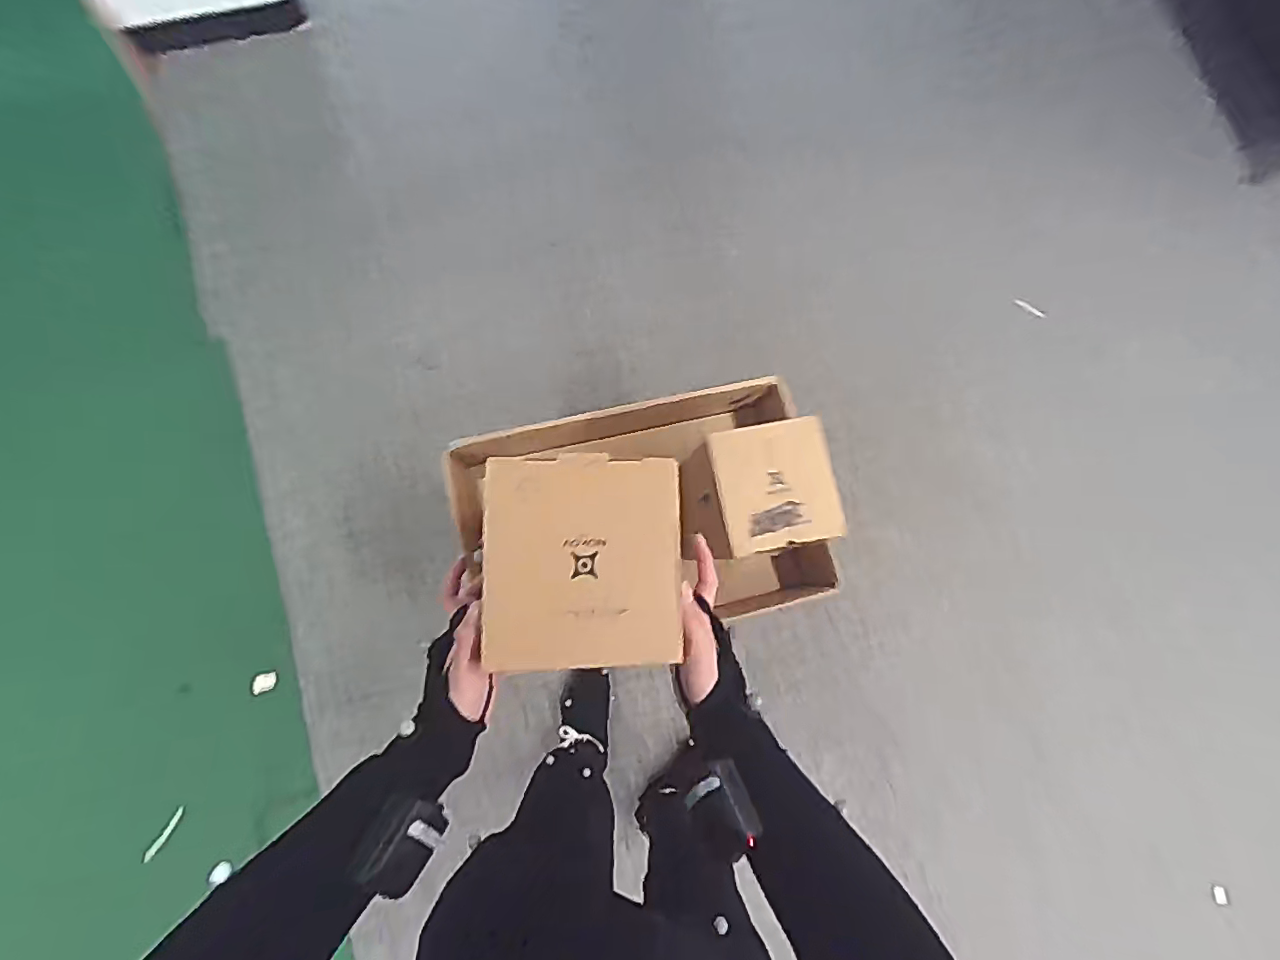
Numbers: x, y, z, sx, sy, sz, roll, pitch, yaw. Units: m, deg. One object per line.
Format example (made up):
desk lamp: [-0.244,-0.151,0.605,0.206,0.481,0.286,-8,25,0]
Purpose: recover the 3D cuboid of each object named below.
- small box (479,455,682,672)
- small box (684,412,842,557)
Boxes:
small box: [-0.056,0.077,0.524,0.168,0.176,0.179,0,83,-7]
small box: [0.174,0.016,0.818,0.168,0.176,0.179,-12,81,-7]
